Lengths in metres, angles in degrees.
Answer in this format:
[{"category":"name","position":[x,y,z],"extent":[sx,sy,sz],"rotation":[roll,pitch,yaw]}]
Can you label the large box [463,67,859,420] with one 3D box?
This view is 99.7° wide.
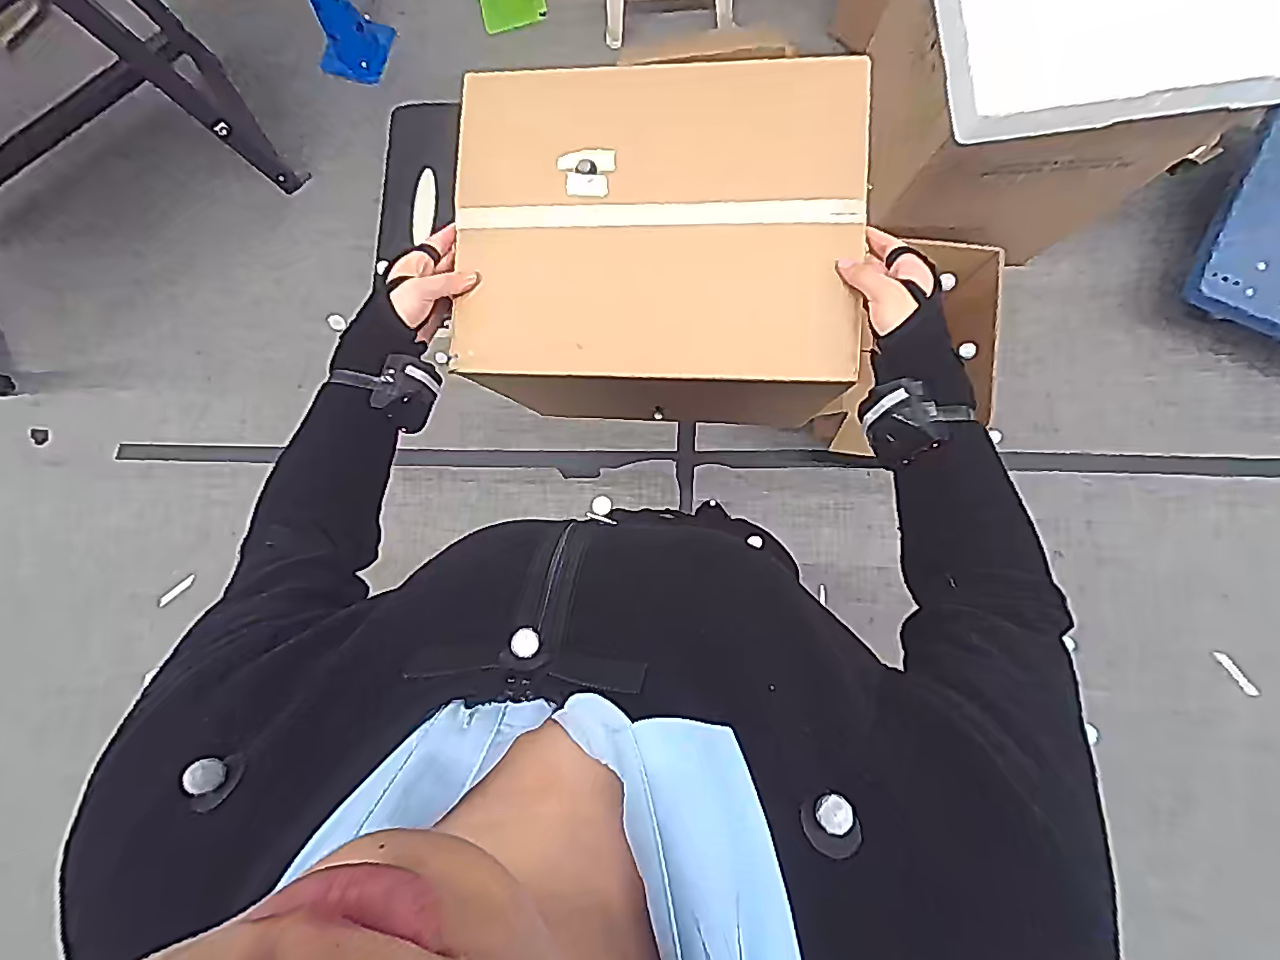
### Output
[{"category":"large box","position":[0.034,-0.249,0.694],"extent":[0.408,0.320,0.320],"rotation":[2,87,7]}]
